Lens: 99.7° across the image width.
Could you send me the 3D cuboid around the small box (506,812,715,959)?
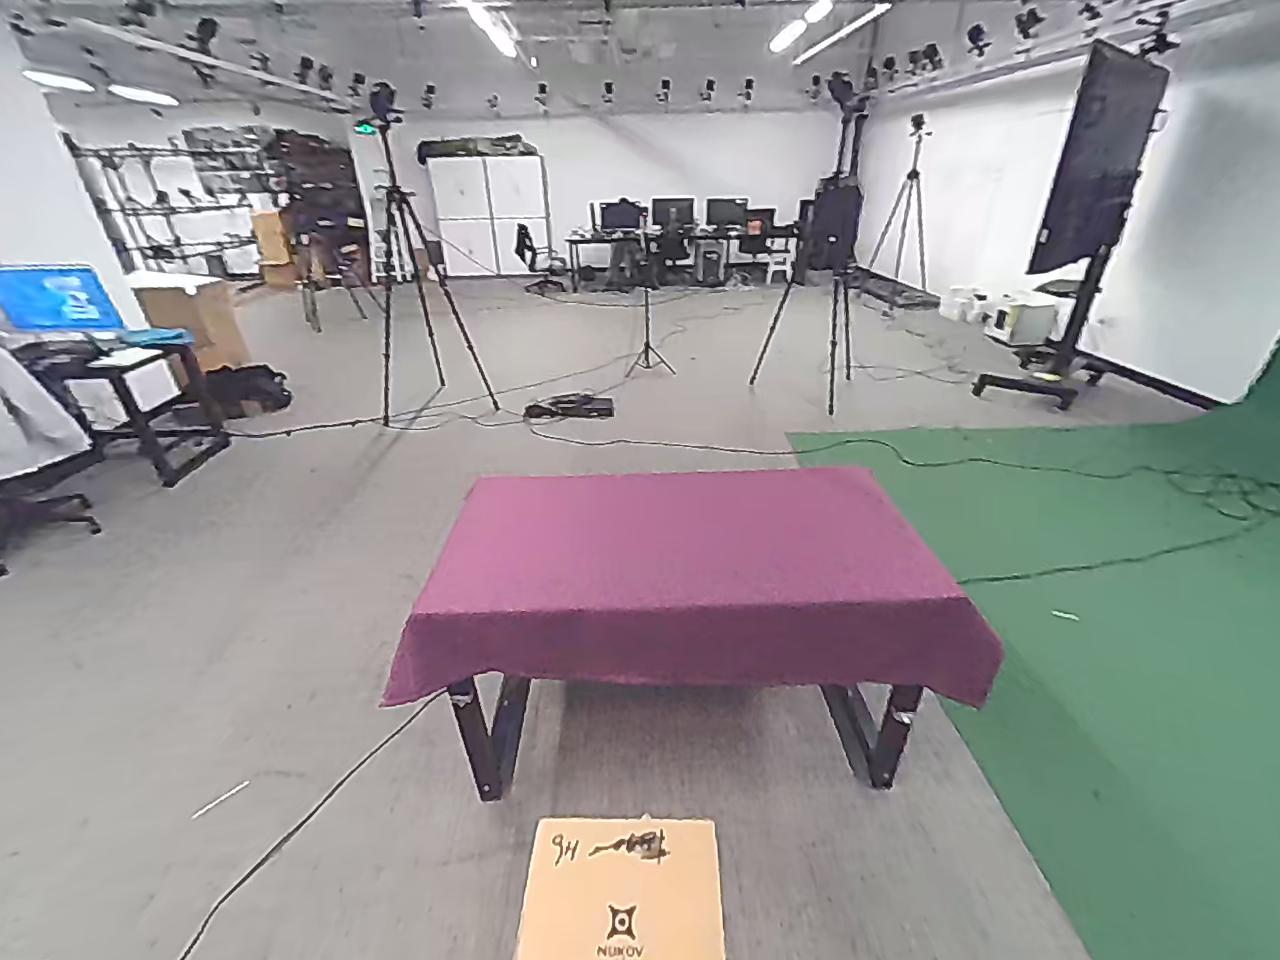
[{"bbox_3d":[-0.017,0.425,0.477,0.168,0.176,0.179,-2,33,3],"label":"small box"}]
